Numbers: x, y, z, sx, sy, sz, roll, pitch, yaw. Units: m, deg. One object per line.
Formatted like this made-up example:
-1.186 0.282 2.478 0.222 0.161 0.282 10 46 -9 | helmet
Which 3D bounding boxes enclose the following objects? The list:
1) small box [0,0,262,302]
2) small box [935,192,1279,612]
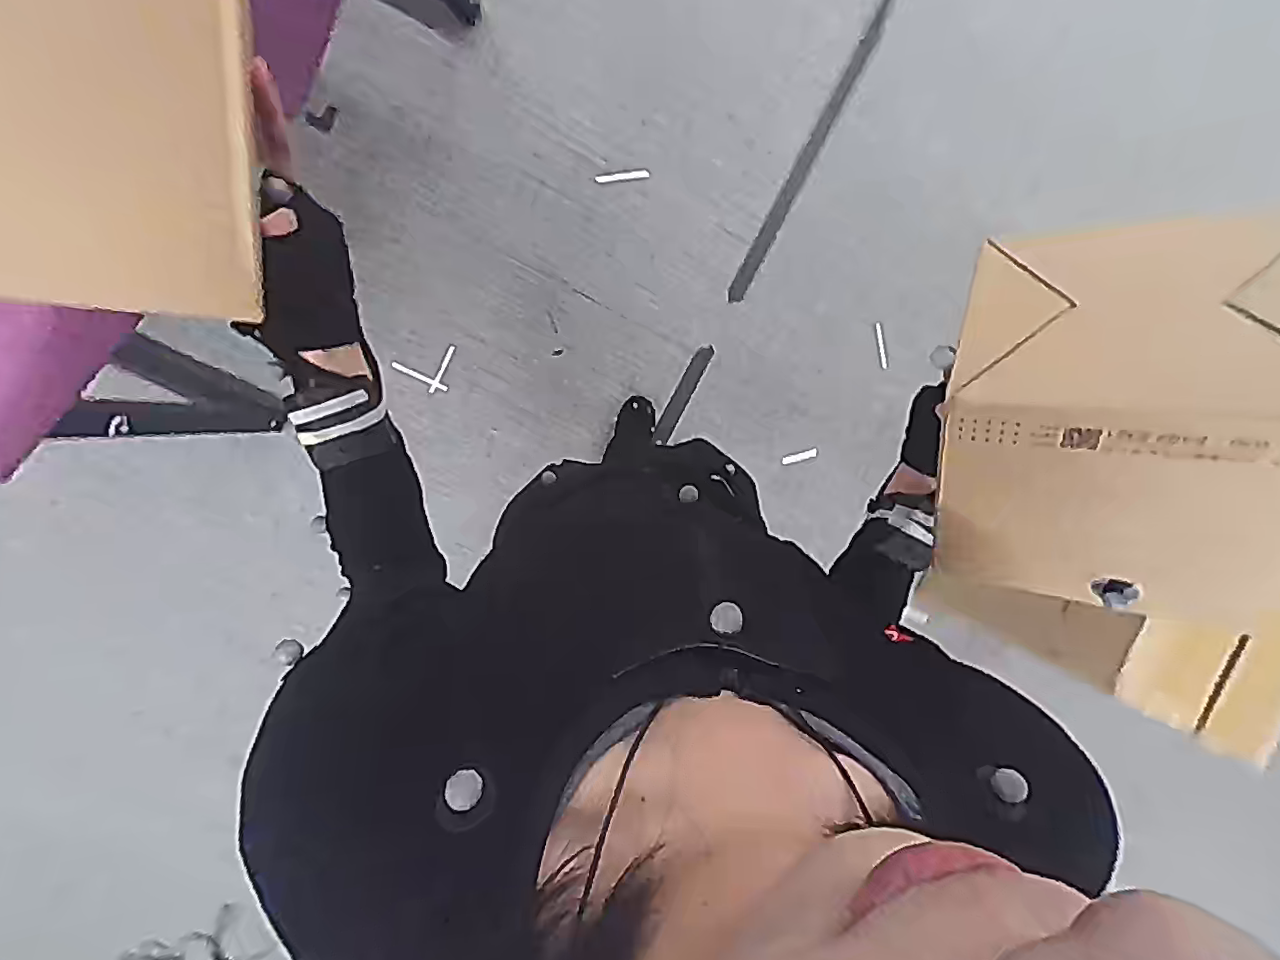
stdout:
-0.252 -0.186 0.208 0.168 0.179 0.176 -5 124 -32 | small box
0.291 -0.051 0.335 0.179 0.168 0.176 -59 141 -30 | small box
